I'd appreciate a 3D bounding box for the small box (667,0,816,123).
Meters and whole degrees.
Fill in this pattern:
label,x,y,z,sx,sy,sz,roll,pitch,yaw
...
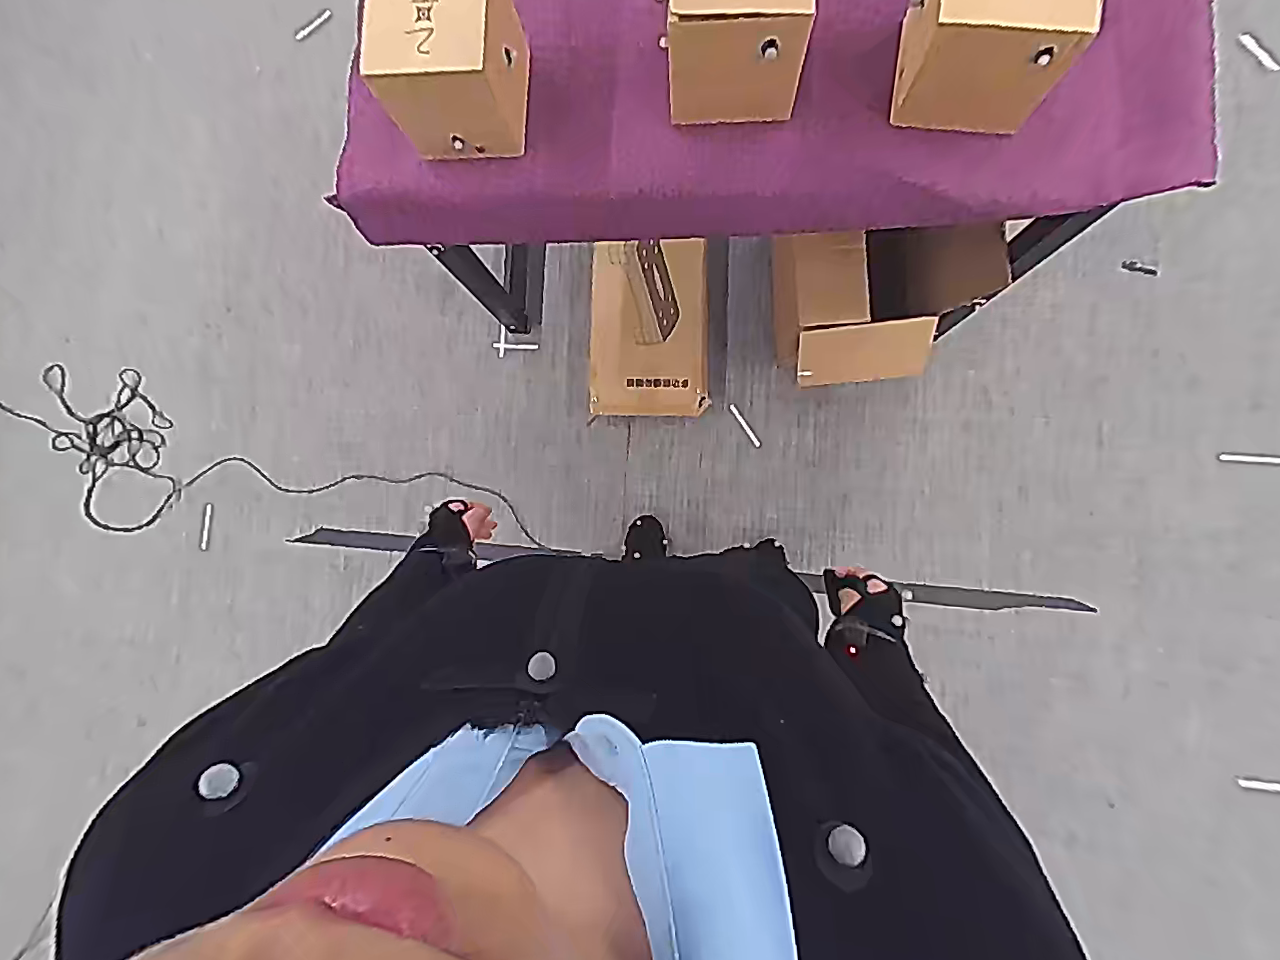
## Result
label,x,y,z,sx,sy,sz,roll,pitch,yaw
small box,0.128,-0.613,0.724,0.179,0.176,0.168,1,84,6

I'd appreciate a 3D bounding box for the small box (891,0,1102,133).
label,x,y,z,sx,sy,sz,roll,pitch,yaw
small box,0.443,-0.581,0.693,0.179,0.176,0.168,9,87,6
